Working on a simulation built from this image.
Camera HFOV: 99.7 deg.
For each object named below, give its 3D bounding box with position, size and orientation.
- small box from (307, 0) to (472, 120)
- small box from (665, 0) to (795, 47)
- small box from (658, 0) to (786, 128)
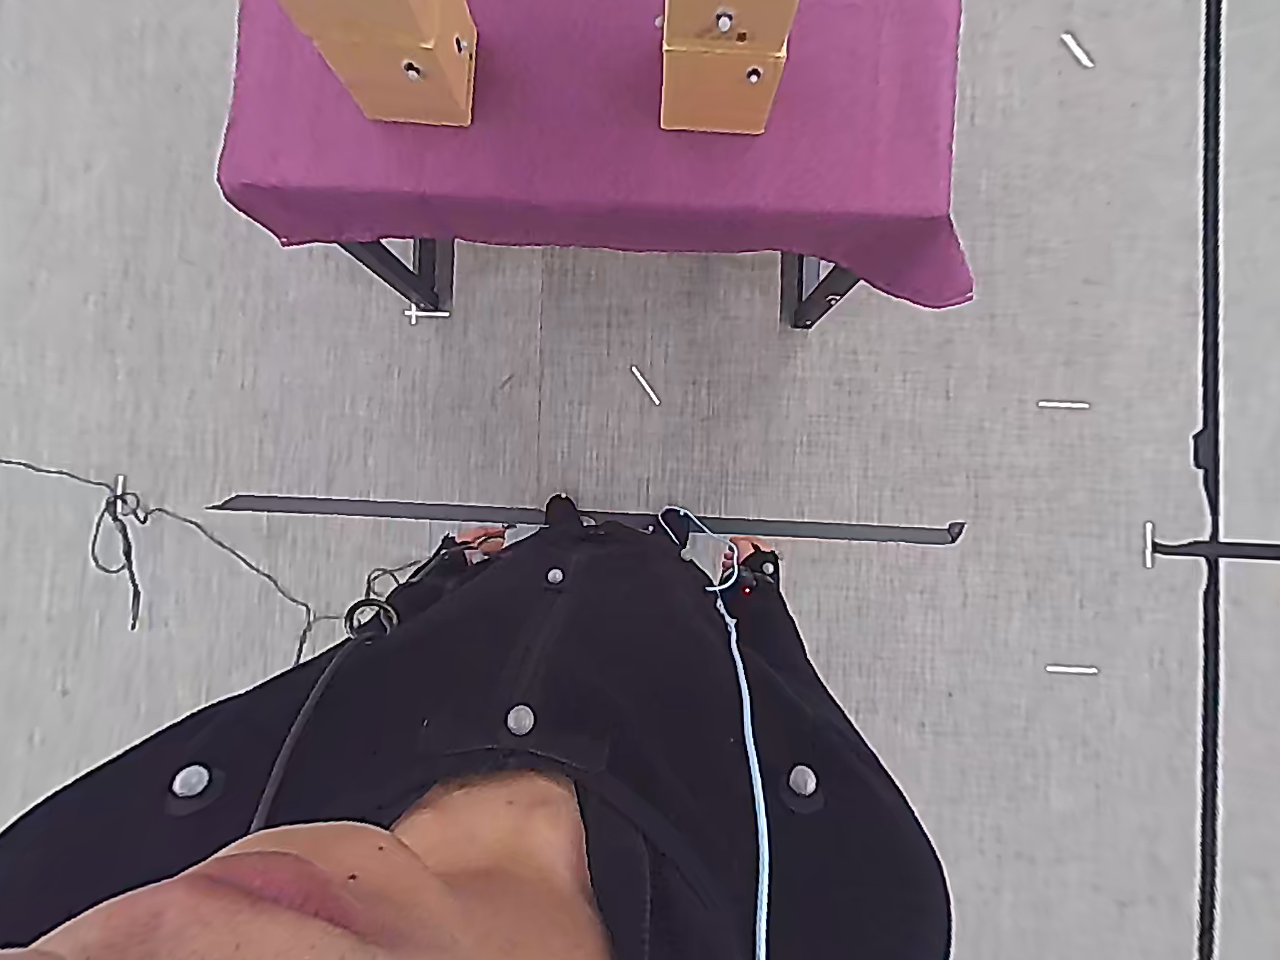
[{"bbox_3d":[-0.369,-0.688,0.827,0.179,0.176,0.168,4,89,0],"label":"small box"},{"bbox_3d":[0.119,-0.689,0.665,0.168,0.176,0.179,4,90,0],"label":"small box"},{"bbox_3d":[0.120,-0.675,0.830,0.179,0.176,0.168,3,89,0],"label":"small box"}]
